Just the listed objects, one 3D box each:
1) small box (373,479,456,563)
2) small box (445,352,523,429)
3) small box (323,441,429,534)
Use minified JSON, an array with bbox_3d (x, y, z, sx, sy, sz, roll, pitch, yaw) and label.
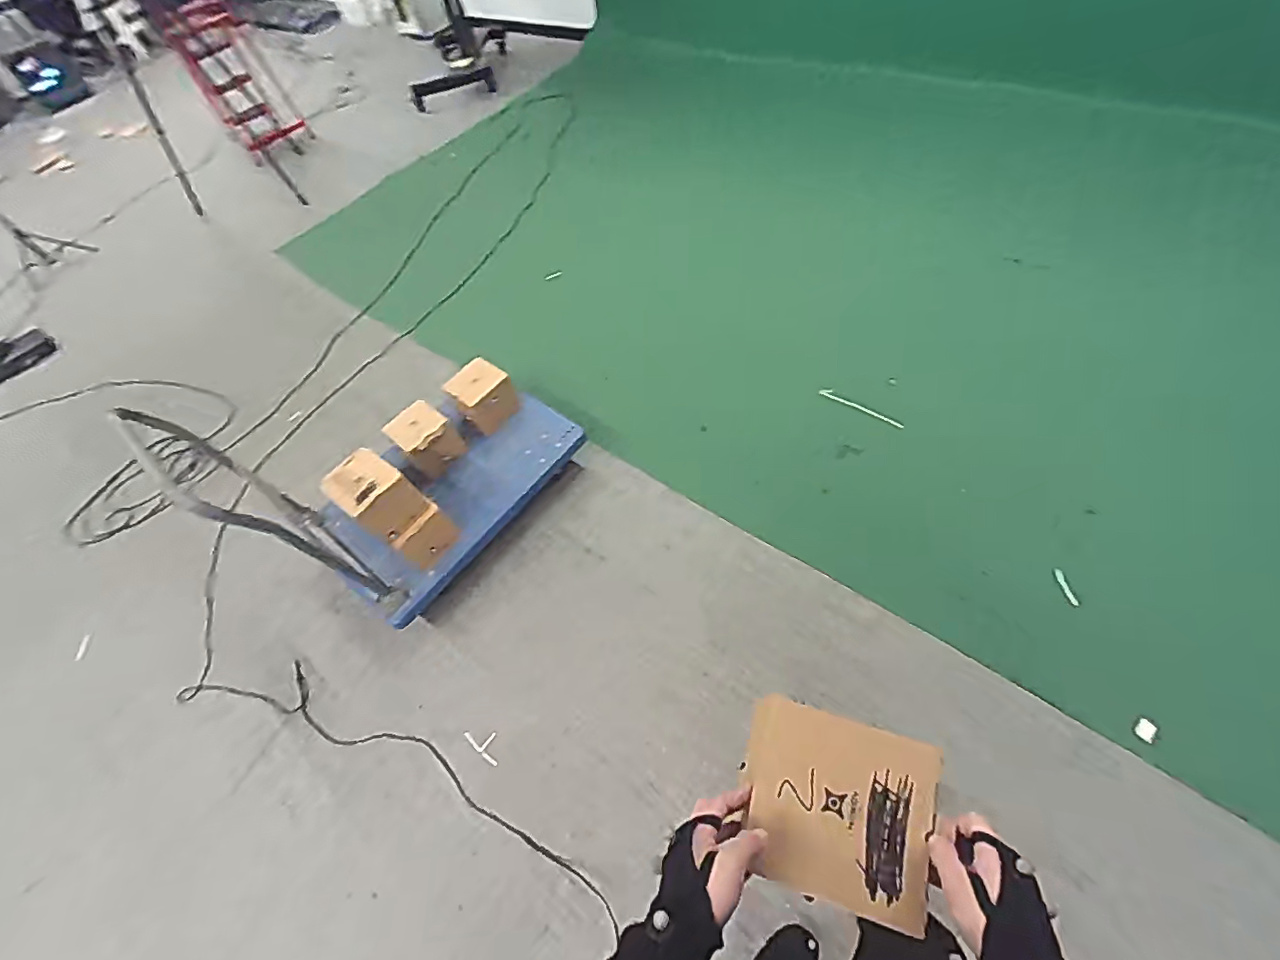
[{"bbox_3d":[-0.693,0.132,1.659,0.179,0.176,0.168,-22,58,-4],"label":"small box"},{"bbox_3d":[-0.544,-0.311,1.915,0.168,0.176,0.179,33,68,26],"label":"small box"},{"bbox_3d":[-0.736,0.029,1.527,0.179,0.176,0.168,31,66,27],"label":"small box"}]
